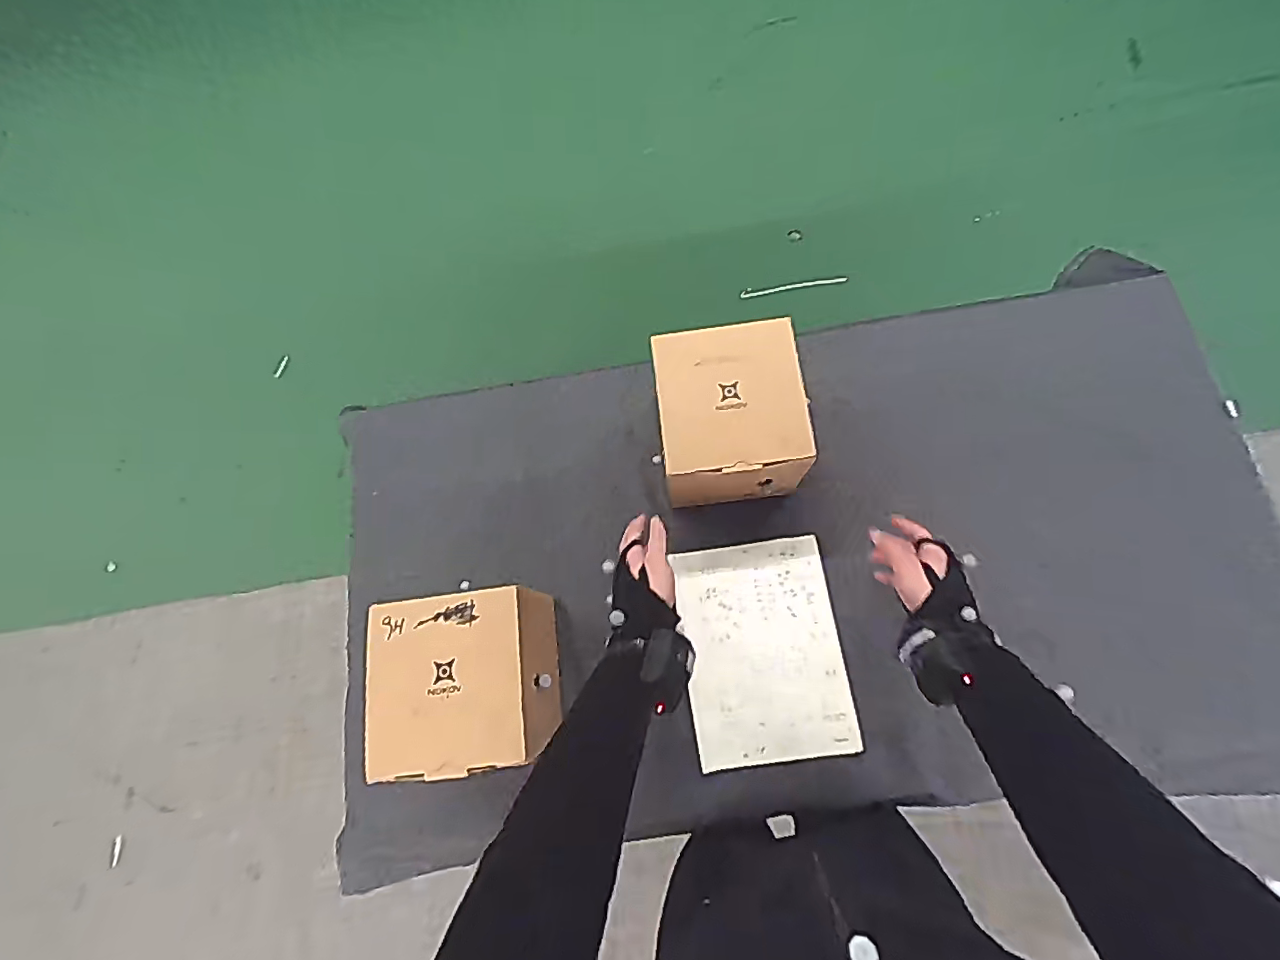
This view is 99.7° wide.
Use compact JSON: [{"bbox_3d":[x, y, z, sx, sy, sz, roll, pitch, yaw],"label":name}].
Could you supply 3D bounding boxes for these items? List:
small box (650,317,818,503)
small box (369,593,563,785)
[{"bbox_3d":[0.107,-0.074,0.674,0.168,0.176,0.179,-7,74,2],"label":"small box"},{"bbox_3d":[-0.191,0.232,0.633,0.168,0.176,0.179,-8,74,3],"label":"small box"}]
